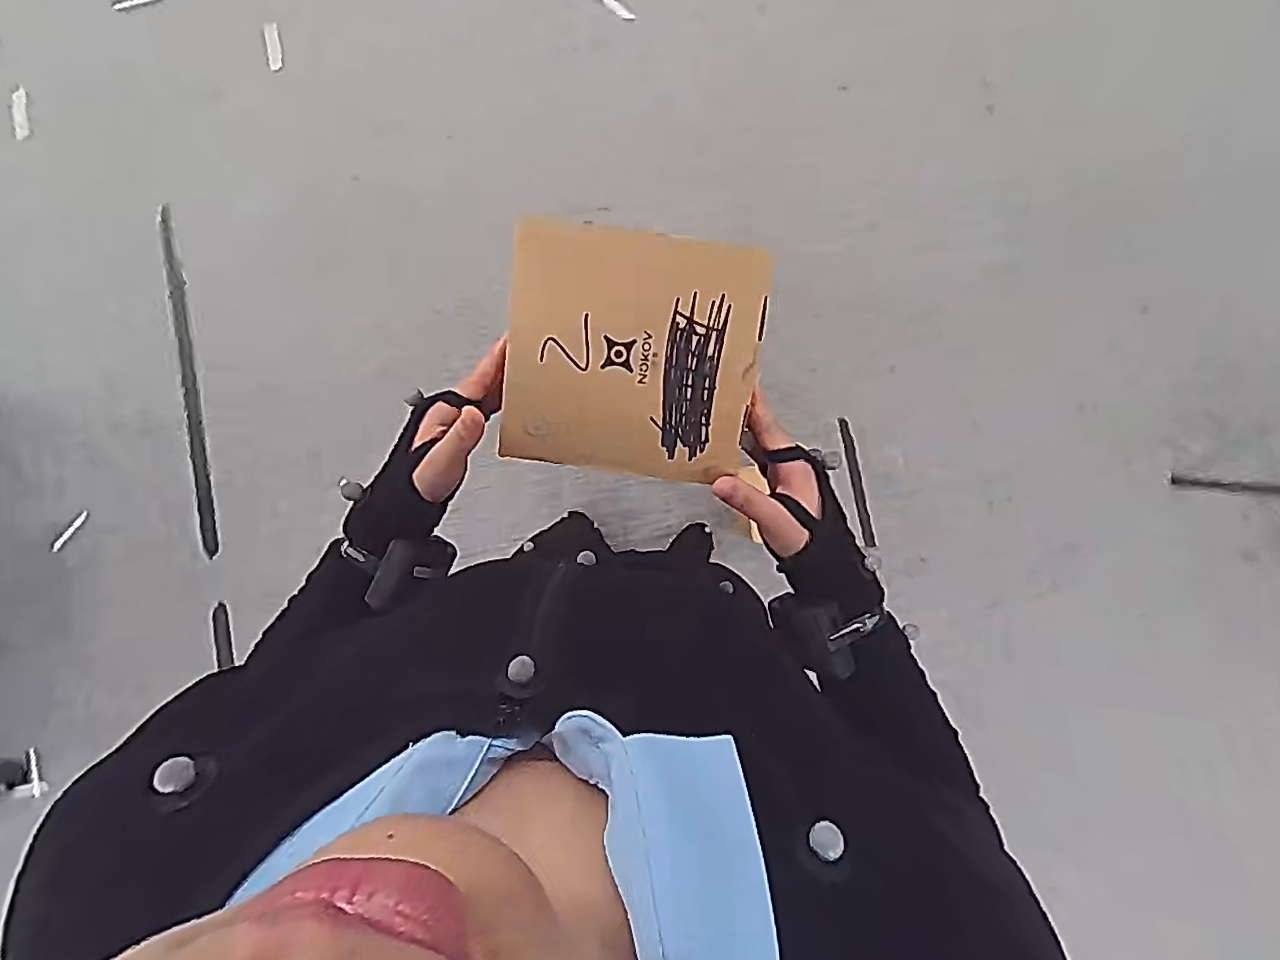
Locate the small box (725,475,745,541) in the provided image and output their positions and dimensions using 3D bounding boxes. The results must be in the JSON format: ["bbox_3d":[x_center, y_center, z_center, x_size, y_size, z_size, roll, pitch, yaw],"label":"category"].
[{"bbox_3d":[0.324,0.058,1.400,0.179,0.176,0.168,-14,87,2],"label":"small box"}]

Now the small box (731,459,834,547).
[{"bbox_3d":[0.317,0.051,1.237,0.179,0.176,0.168,-12,87,3],"label":"small box"}]
